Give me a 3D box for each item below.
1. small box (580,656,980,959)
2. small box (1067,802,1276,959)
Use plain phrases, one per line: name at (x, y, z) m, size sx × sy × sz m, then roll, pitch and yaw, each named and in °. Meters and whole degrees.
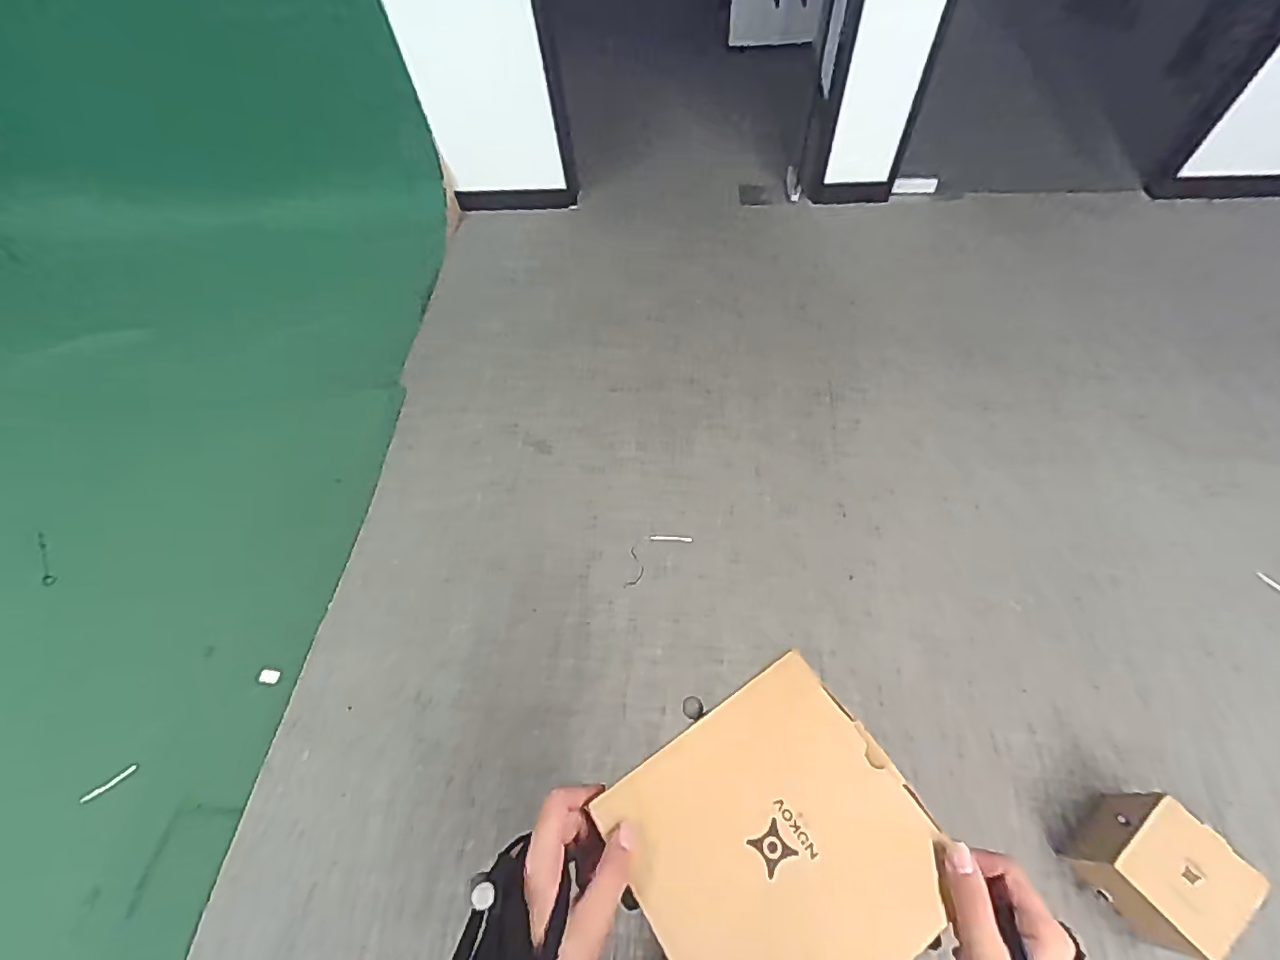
small box at (0.081, 0.261, 0.385) m, size 0.179 × 0.176 × 0.168 m, roll -31°, pitch 63°, yaw -16°
small box at (0.906, 0.693, 0.943) m, size 0.179 × 0.176 × 0.168 m, roll -36°, pitch 62°, yaw -15°
